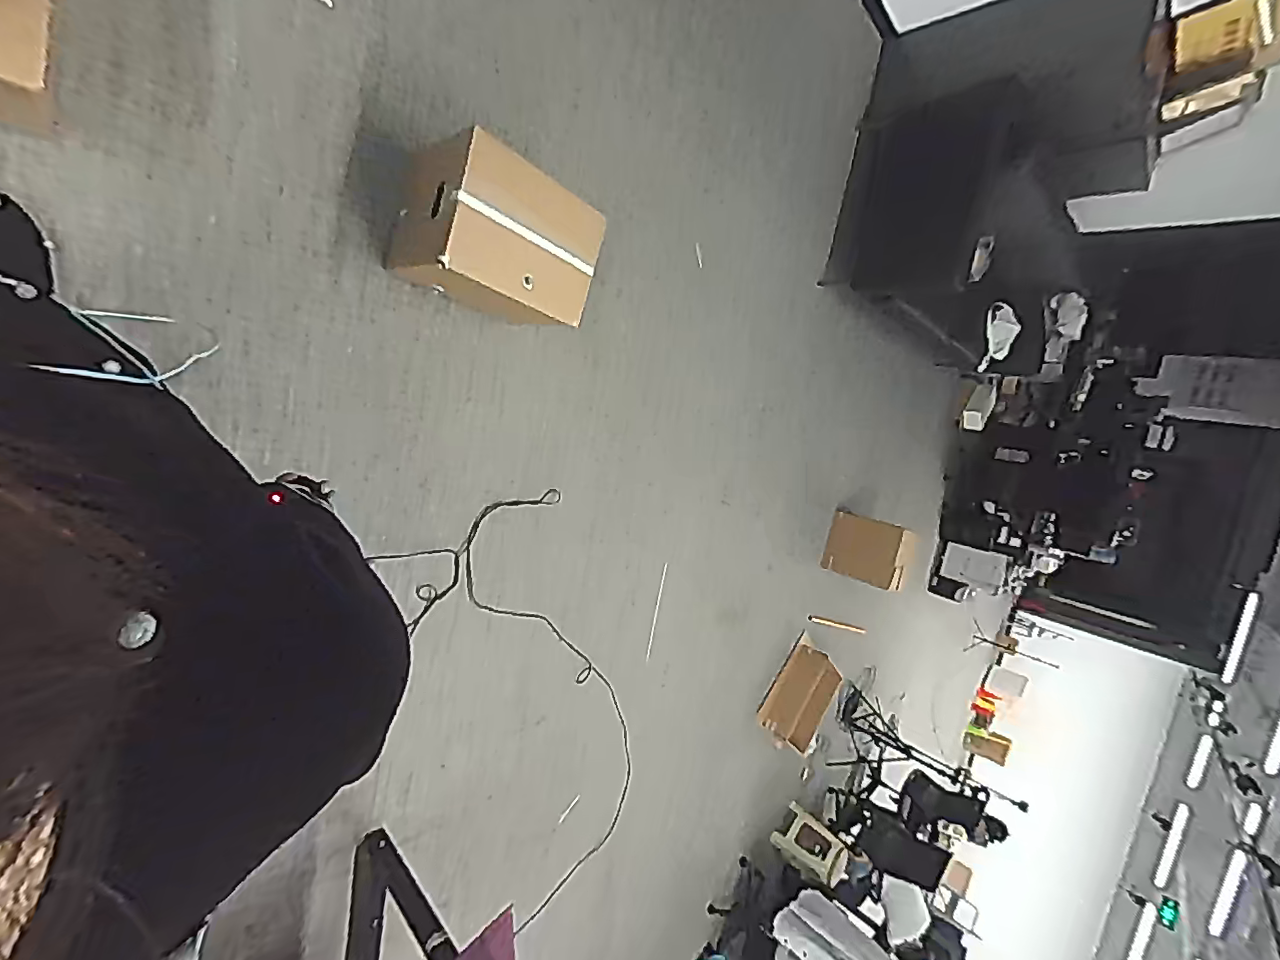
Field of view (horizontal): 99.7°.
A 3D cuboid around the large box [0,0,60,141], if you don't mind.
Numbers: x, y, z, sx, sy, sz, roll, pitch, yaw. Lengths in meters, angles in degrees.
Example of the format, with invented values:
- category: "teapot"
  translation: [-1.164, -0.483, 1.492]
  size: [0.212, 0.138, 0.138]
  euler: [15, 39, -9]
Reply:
- category: "large box"
  translation: [-1.005, -0.760, 0.719]
  size: [0.320, 0.320, 0.408]
  euler: [4, 99, -46]
